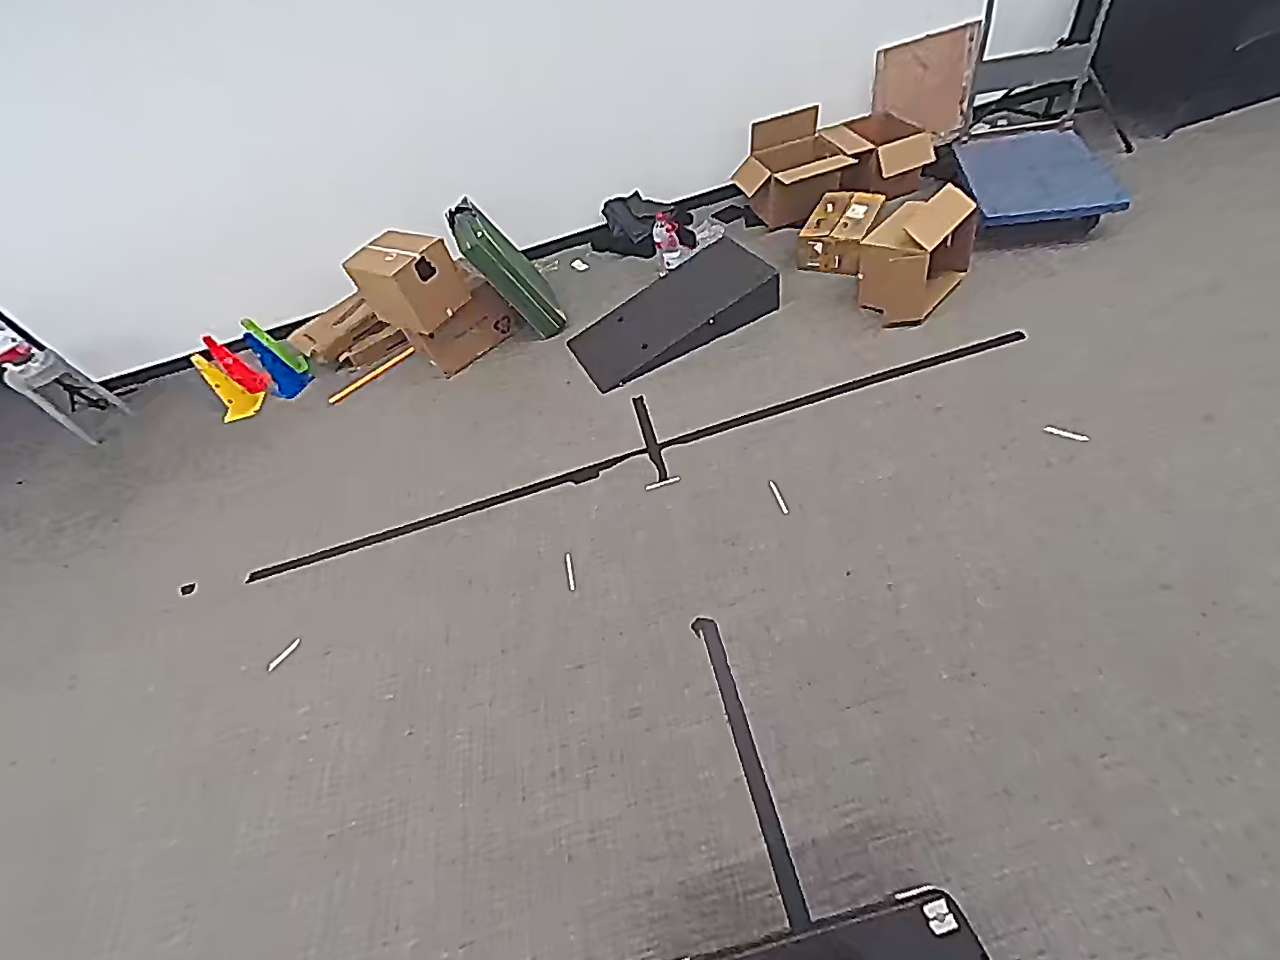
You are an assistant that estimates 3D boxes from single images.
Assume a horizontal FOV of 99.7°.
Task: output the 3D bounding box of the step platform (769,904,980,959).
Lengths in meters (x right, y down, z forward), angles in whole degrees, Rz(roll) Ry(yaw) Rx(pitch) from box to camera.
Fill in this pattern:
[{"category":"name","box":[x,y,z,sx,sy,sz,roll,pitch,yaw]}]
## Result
[{"category":"step platform","box":[0.358,1.090,1.048,0.684,0.204,0.286,-18,50,-1]}]
